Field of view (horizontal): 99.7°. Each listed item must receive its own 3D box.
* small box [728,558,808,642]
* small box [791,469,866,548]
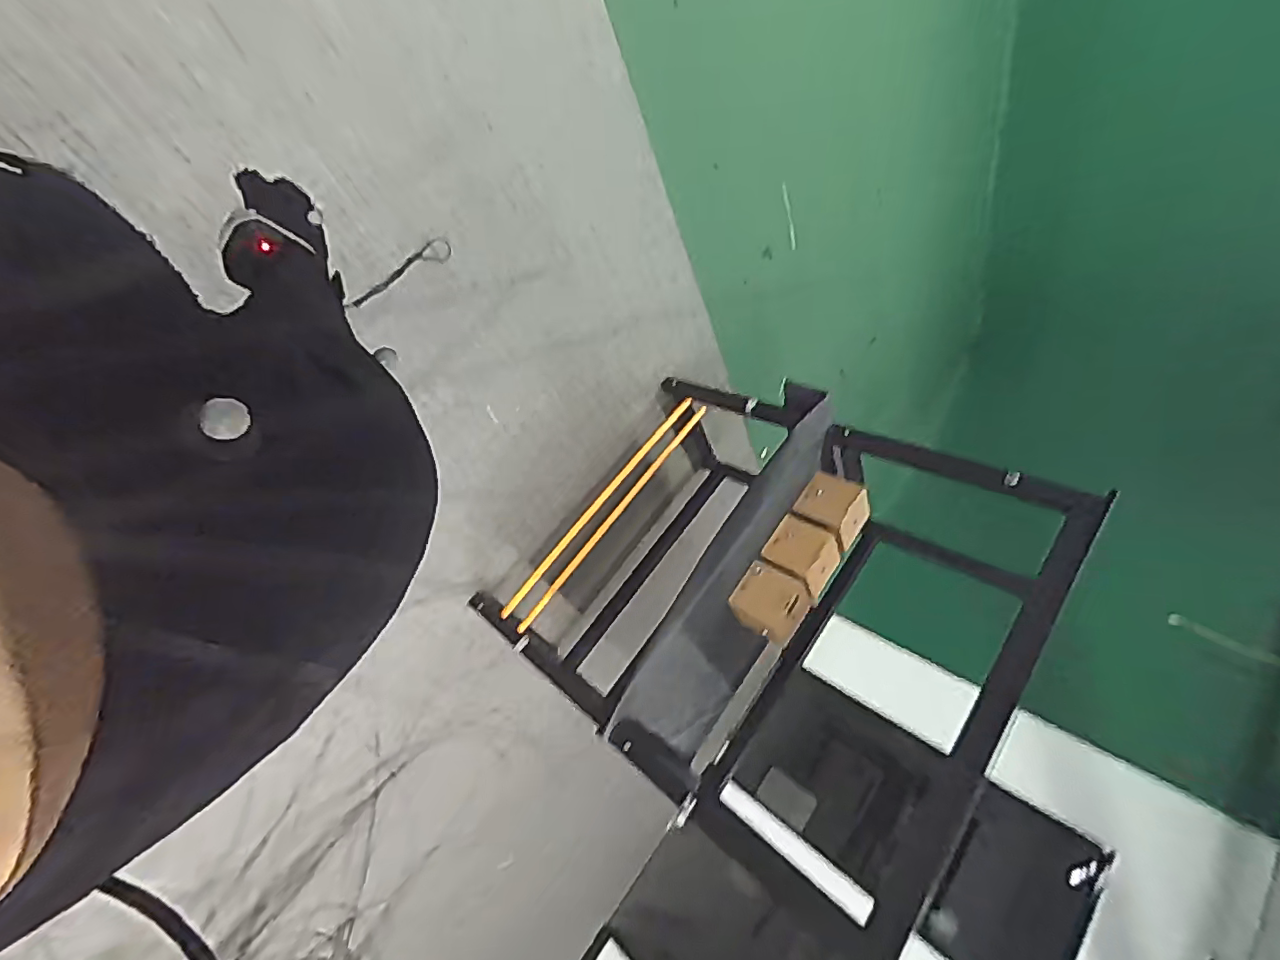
[{"bbox_3d":[0.396,0.366,1.685,0.168,0.176,0.179,-51,140,-16],"label":"small box"},{"bbox_3d":[0.624,0.088,1.788,0.168,0.176,0.179,-52,139,-16],"label":"small box"}]
